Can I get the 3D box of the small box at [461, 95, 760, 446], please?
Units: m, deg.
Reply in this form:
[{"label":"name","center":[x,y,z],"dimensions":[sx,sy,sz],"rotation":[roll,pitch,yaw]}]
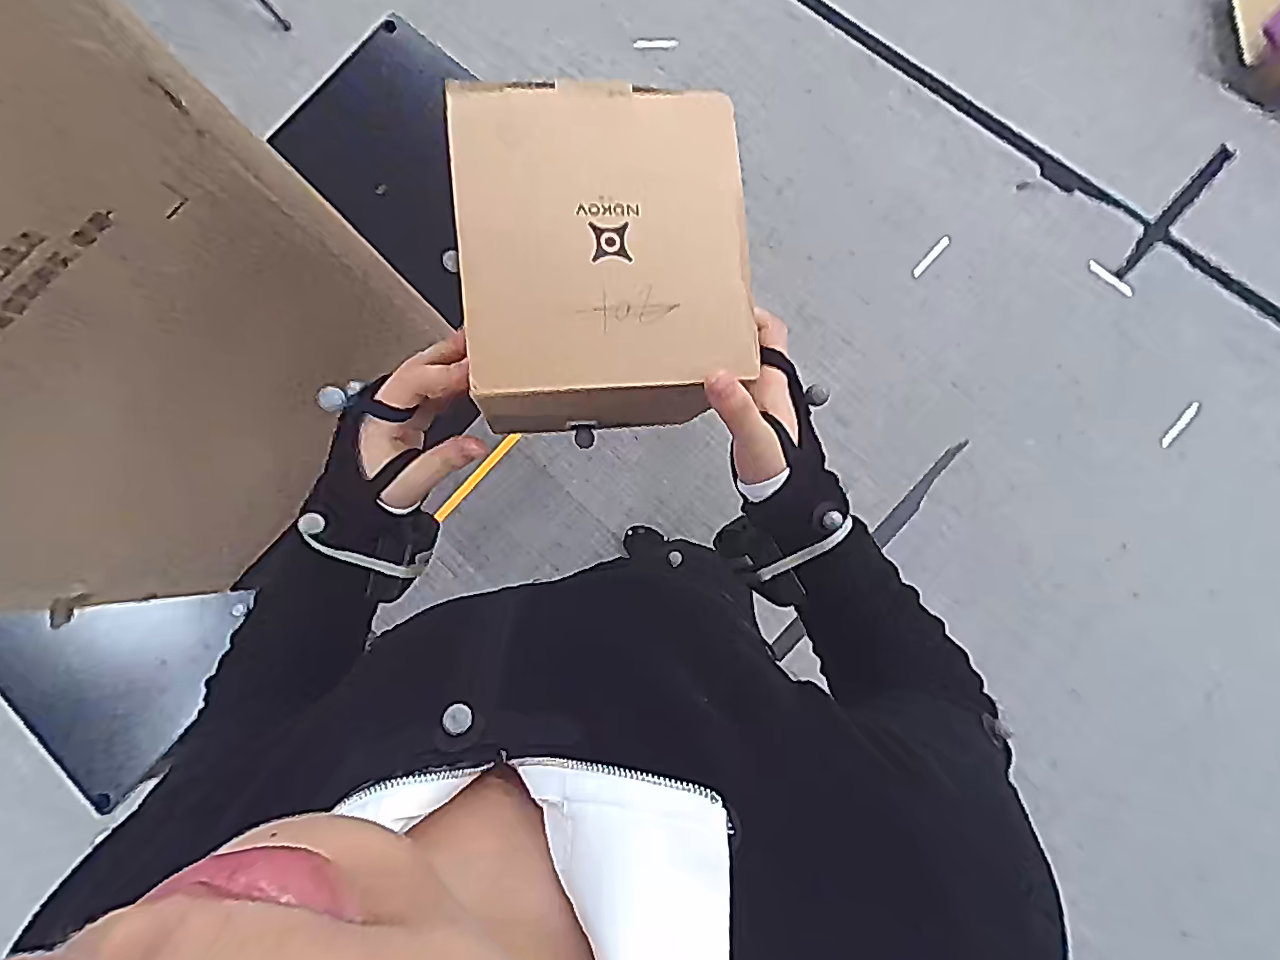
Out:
[{"label":"small box","center":[-0.030,-0.124,0.384],"dimensions":[0.168,0.176,0.179],"rotation":[-4,87,-11]}]
